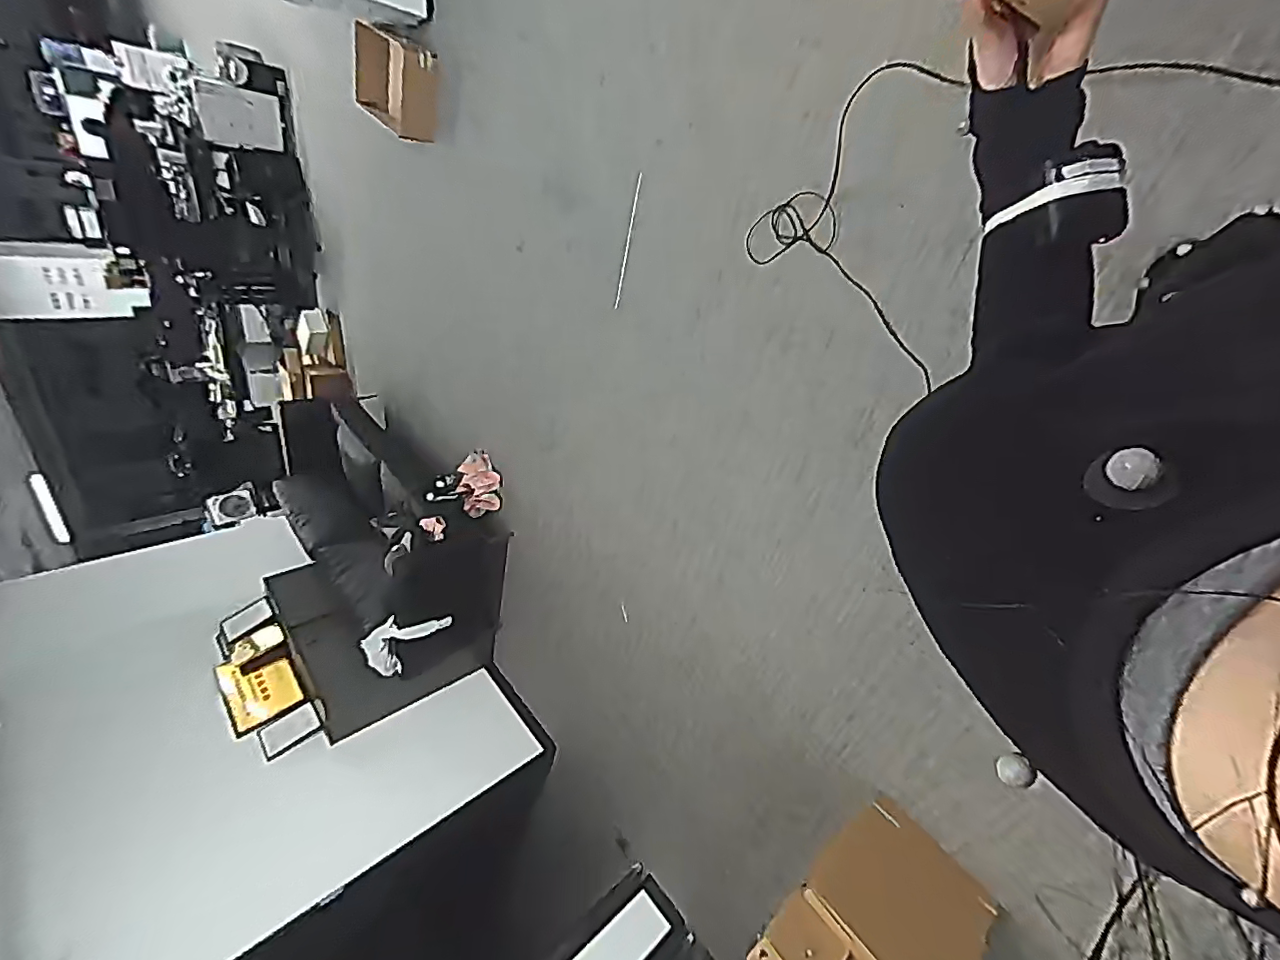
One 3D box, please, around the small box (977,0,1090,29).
[{"bbox_3d":[0.228,-0.392,0.288,0.179,0.168,0.176,31,129,4],"label":"small box"}]
